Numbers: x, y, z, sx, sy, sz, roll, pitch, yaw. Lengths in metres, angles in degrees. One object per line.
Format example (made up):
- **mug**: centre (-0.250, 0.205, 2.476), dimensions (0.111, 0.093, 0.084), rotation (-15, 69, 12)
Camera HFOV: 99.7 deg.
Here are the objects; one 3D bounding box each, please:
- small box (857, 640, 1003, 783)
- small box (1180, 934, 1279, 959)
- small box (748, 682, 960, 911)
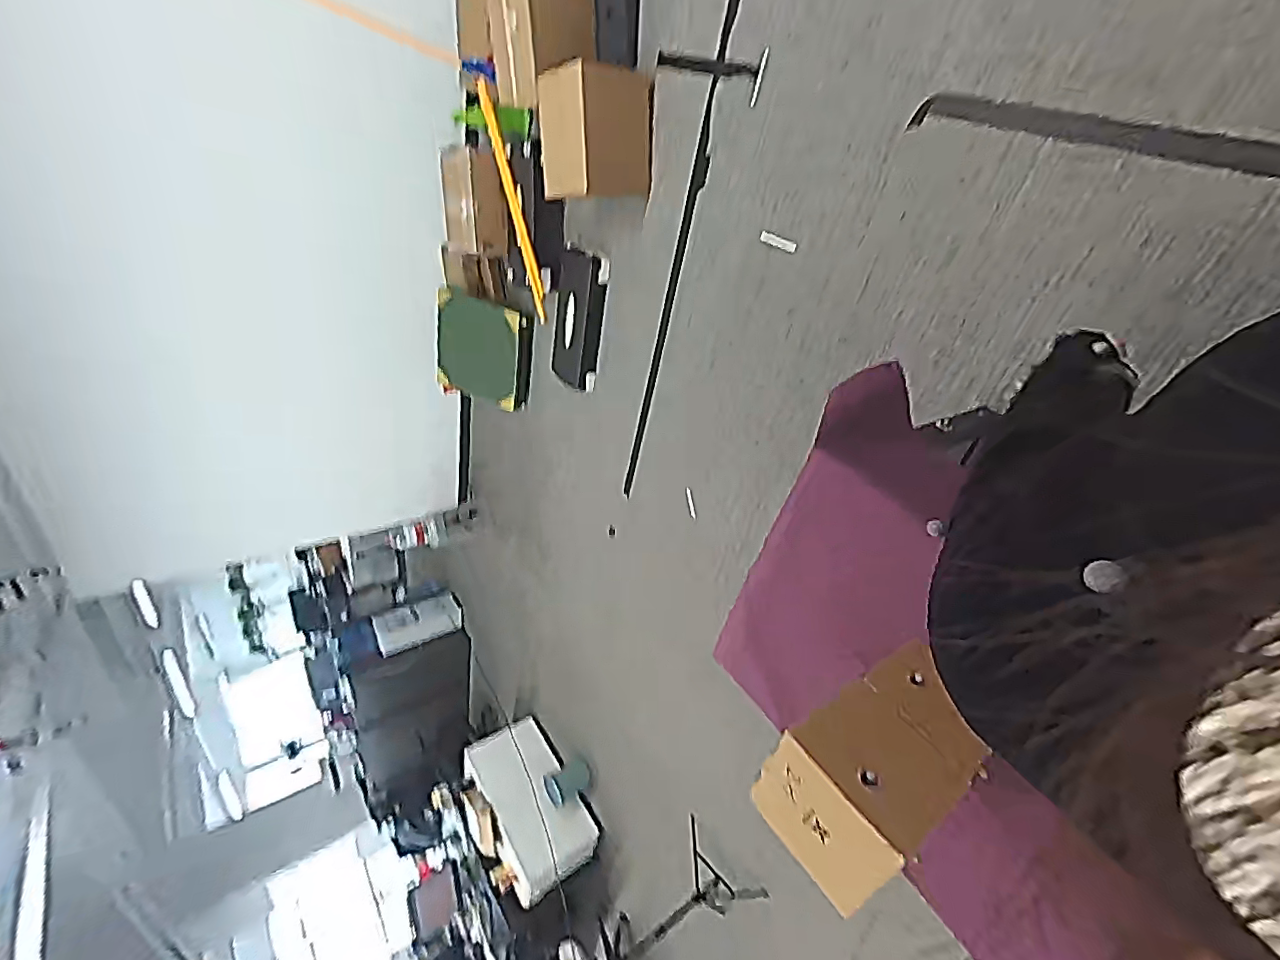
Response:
- **small box**: centre (0.412, 0.378, 0.824), dimensions (0.168, 0.176, 0.179), rotation (44, 134, 36)
- **small box**: centre (0.672, 0.646, 0.574), dimensions (0.168, 0.176, 0.179), rotation (43, 133, 37)
- **small box**: centre (0.284, 0.410, 0.726), dimensions (0.179, 0.176, 0.168), rotation (43, 133, 37)
